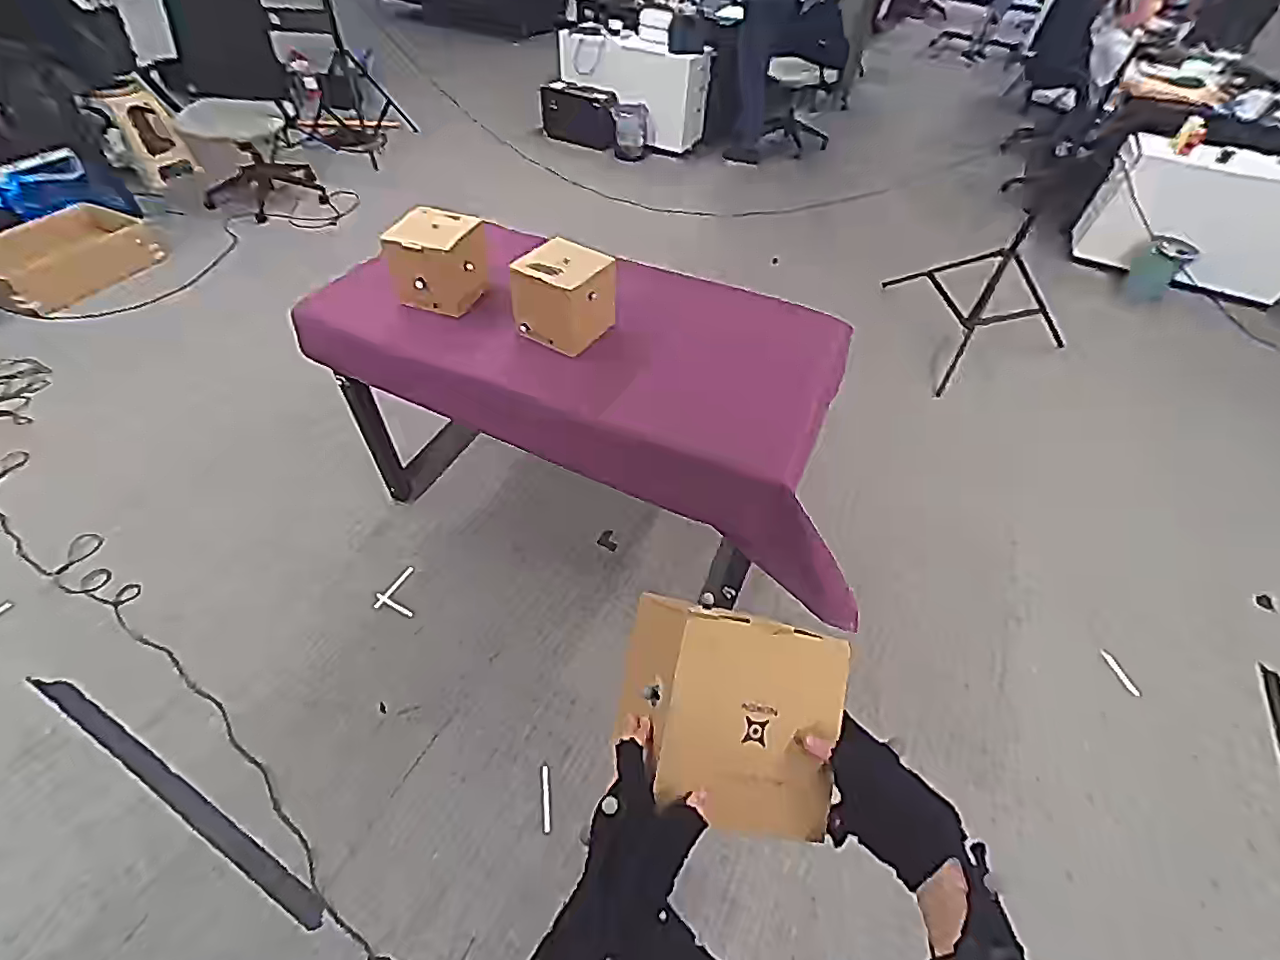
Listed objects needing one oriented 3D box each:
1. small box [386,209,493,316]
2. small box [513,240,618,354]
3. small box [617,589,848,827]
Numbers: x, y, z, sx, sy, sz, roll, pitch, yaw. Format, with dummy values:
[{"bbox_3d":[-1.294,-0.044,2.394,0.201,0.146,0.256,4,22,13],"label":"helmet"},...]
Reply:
[{"bbox_3d":[-0.469,-0.520,1.301,0.168,0.176,0.179,15,51,8],"label":"small box"},{"bbox_3d":[-0.162,-0.415,1.237,0.168,0.176,0.179,27,52,18],"label":"small box"},{"bbox_3d":[0.082,0.214,0.551,0.168,0.176,0.179,14,80,-11],"label":"small box"}]
